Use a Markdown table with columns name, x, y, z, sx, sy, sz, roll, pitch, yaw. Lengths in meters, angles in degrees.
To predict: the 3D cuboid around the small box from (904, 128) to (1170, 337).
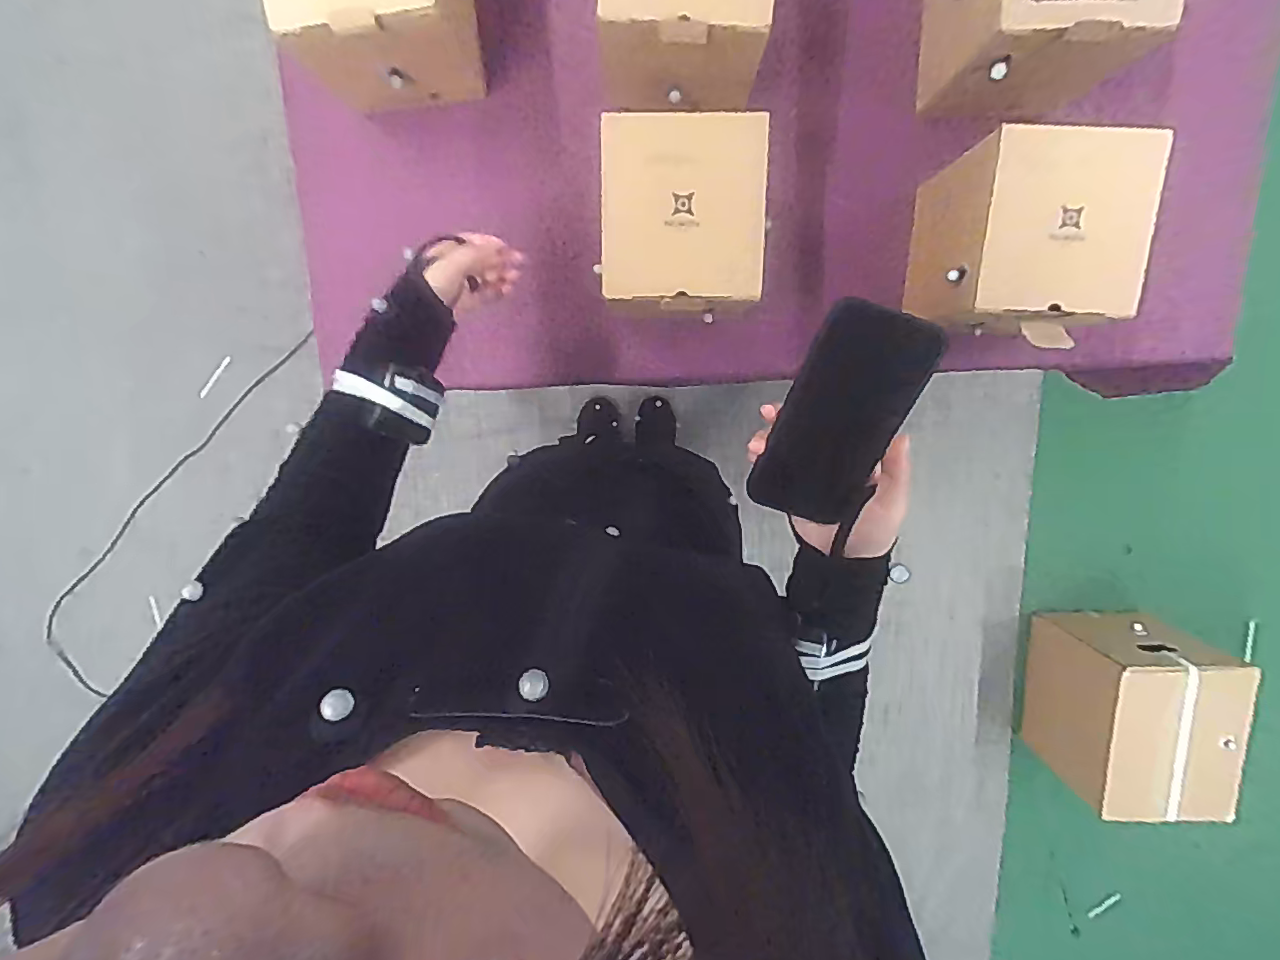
| name | x | y | z | sx | sy | sz | roll | pitch | yaw |
| --- | --- | --- | --- | --- | --- | --- | --- | --- | --- |
| small box | 0.424 | -0.262 | 0.612 | 0.168 | 0.176 | 0.179 | 3 | 101 | 1 |

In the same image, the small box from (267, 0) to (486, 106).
| name | x | y | z | sx | sy | sz | roll | pitch | yaw |
| --- | --- | --- | --- | --- | --- | --- | --- | --- | --- |
| small box | -0.277 | -0.531 | 0.577 | 0.168 | 0.176 | 0.179 | -6 | 101 | 2 |

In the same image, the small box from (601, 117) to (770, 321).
| name | x | y | z | sx | sy | sz | roll | pitch | yaw |
| --- | --- | --- | --- | --- | --- | --- | --- | --- | --- |
| small box | 0.045 | -0.280 | 0.618 | 0.168 | 0.176 | 0.179 | 1 | 100 | 1 |

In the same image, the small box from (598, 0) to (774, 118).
| name | x | y | z | sx | sy | sz | roll | pitch | yaw |
| --- | --- | --- | --- | --- | --- | --- | --- | --- | --- |
| small box | 0.050 | -0.523 | 0.571 | 0.168 | 0.176 | 0.179 | 5 | 101 | 1 |
